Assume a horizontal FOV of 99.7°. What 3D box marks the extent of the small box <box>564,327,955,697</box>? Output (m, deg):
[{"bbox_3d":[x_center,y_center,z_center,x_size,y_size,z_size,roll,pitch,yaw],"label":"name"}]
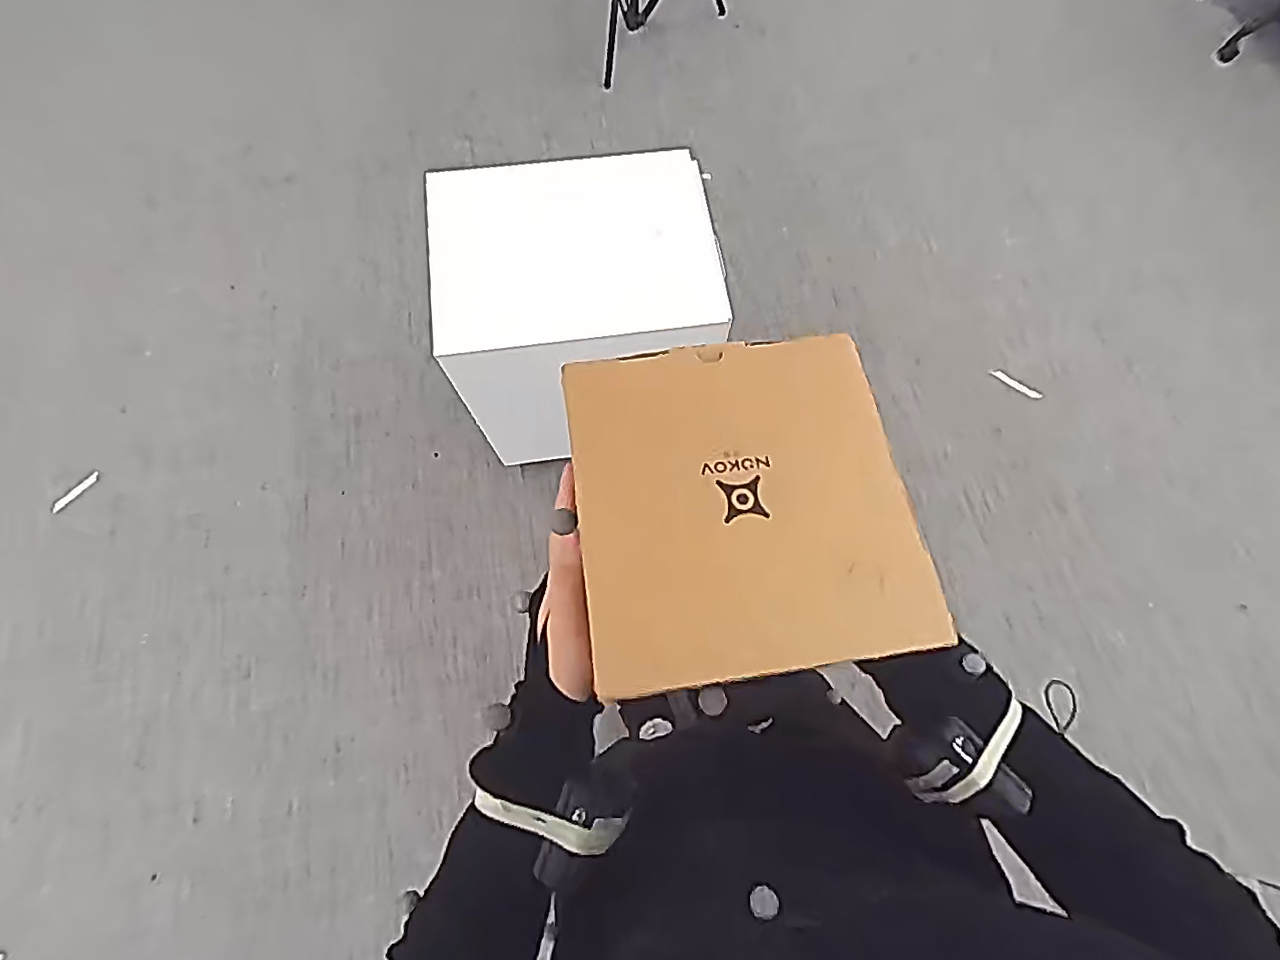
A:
[{"bbox_3d":[0.049,0.033,0.341,0.168,0.176,0.179,-7,67,-5],"label":"small box"}]
